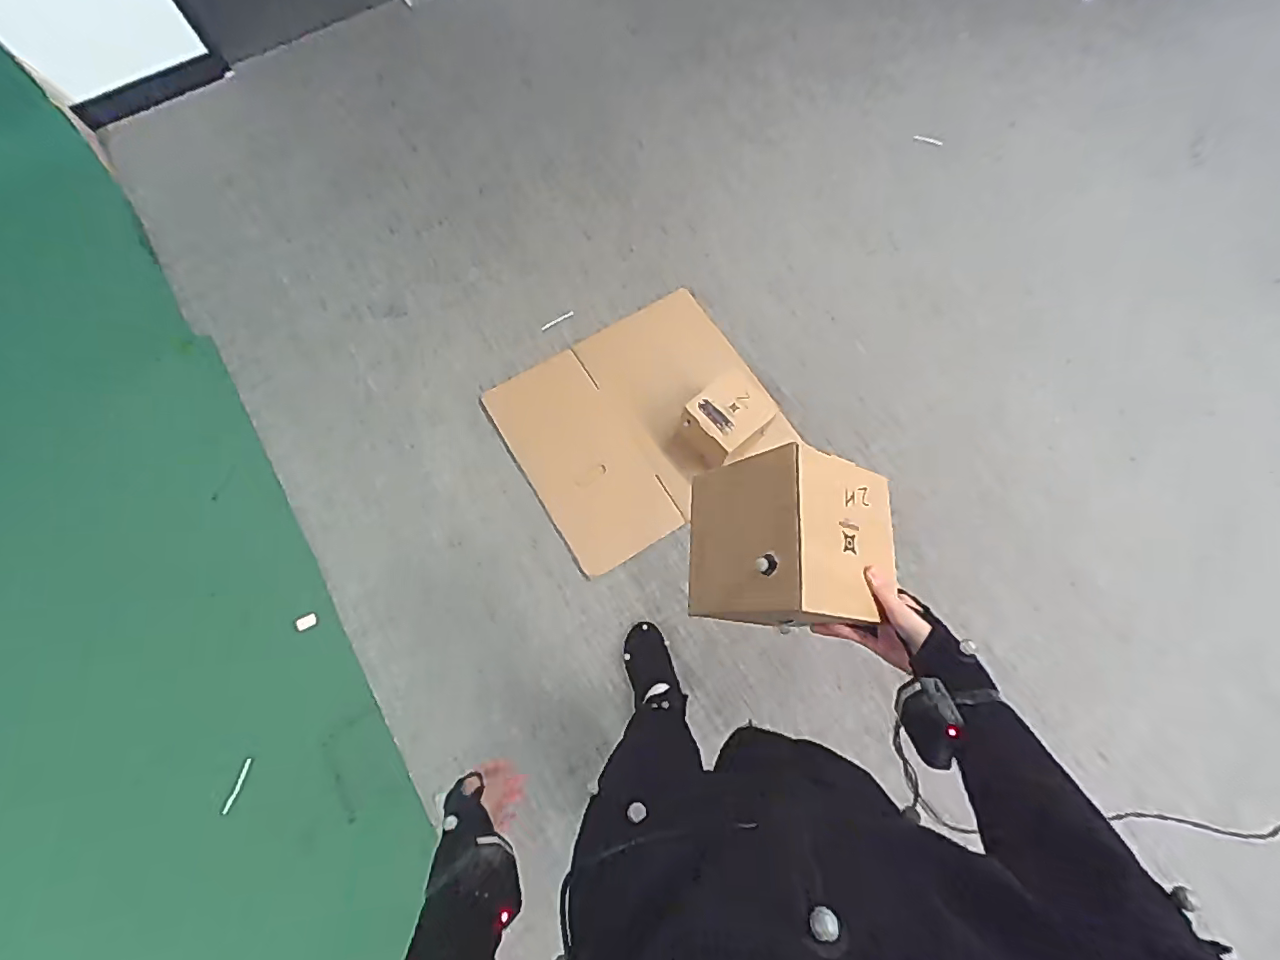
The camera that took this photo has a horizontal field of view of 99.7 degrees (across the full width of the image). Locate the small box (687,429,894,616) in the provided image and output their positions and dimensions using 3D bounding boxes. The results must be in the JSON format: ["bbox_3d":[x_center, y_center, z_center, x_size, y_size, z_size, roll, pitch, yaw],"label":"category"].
[{"bbox_3d":[0.169,0.065,0.638,0.168,0.176,0.179,16,68,-32],"label":"small box"}]
